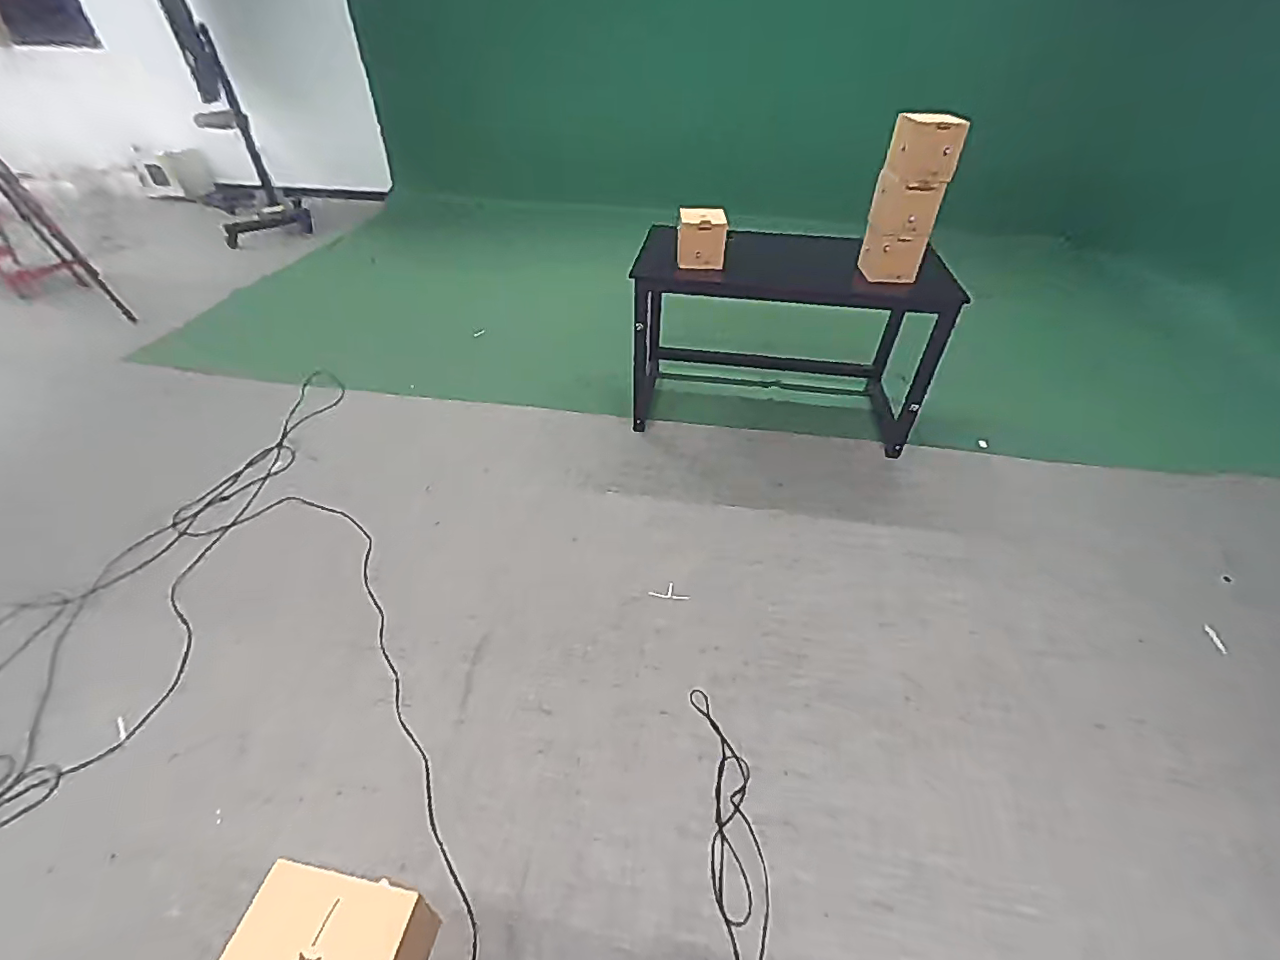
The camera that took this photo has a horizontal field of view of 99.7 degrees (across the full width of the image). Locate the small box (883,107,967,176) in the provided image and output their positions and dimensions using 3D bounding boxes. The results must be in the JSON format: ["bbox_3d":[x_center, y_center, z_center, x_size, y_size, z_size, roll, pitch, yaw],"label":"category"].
[{"bbox_3d":[0.919,-1.103,1.762,0.168,0.176,0.179,1,41,0],"label":"small box"}]

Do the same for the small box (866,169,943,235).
[{"bbox_3d":[0.910,-0.969,1.881,0.168,0.176,0.179,1,41,1],"label":"small box"}]

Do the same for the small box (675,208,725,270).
[{"bbox_3d":[0.223,-0.920,2.064,0.168,0.176,0.179,1,43,-1],"label":"small box"}]

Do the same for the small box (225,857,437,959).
[{"bbox_3d":[-0.338,0.547,0.583,0.168,0.176,0.179,12,42,3],"label":"small box"}]
